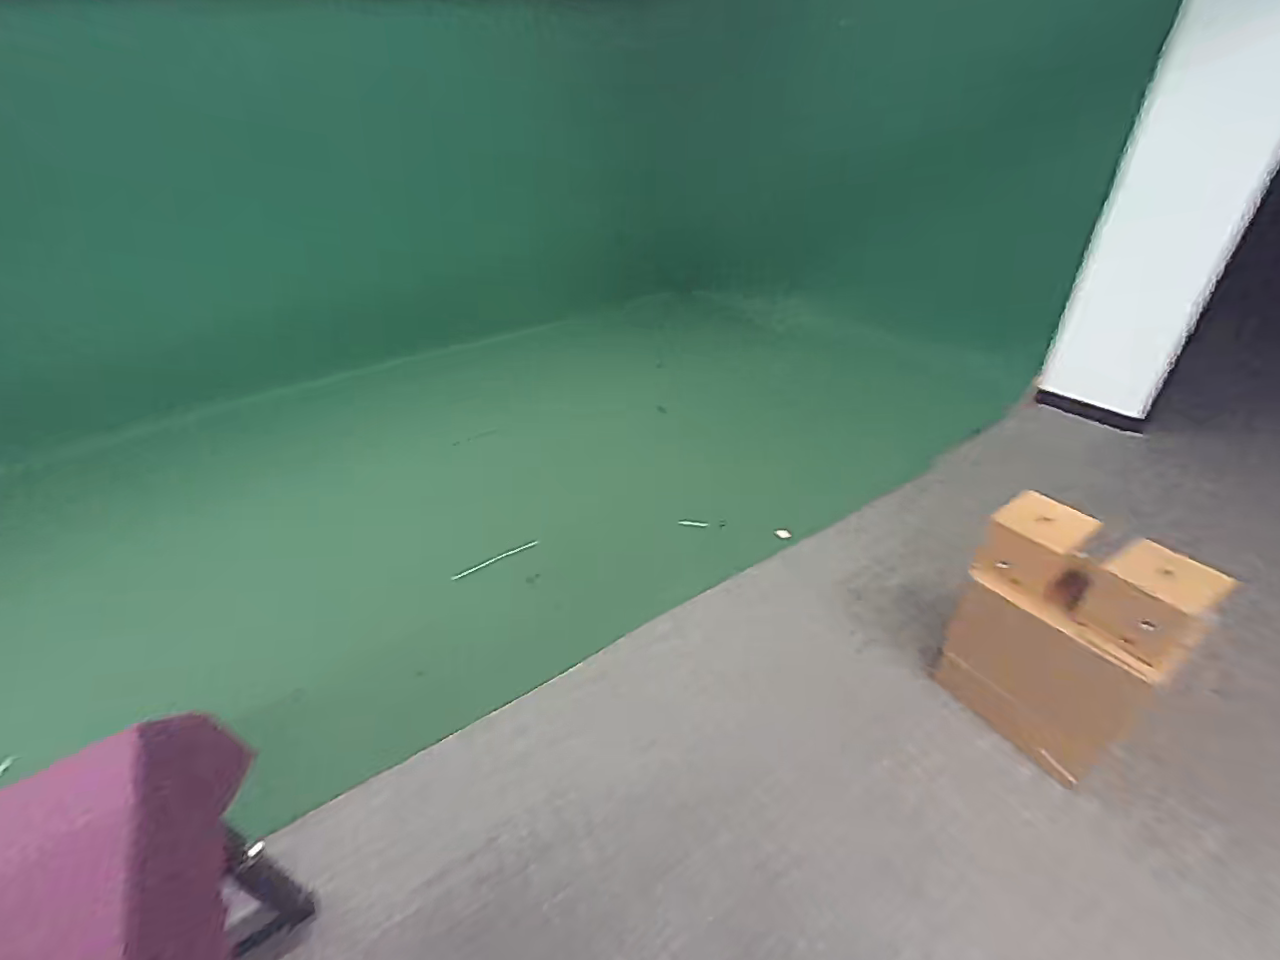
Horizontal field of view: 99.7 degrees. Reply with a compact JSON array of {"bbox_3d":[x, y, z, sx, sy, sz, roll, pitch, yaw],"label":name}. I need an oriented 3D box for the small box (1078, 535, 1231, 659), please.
[{"bbox_3d":[1.112,0.257,1.186,0.179,0.176,0.168,-20,37,-21],"label":"small box"}]

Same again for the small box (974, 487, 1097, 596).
[{"bbox_3d":[0.976,0.154,1.350,0.179,0.176,0.168,-26,42,-23],"label":"small box"}]
